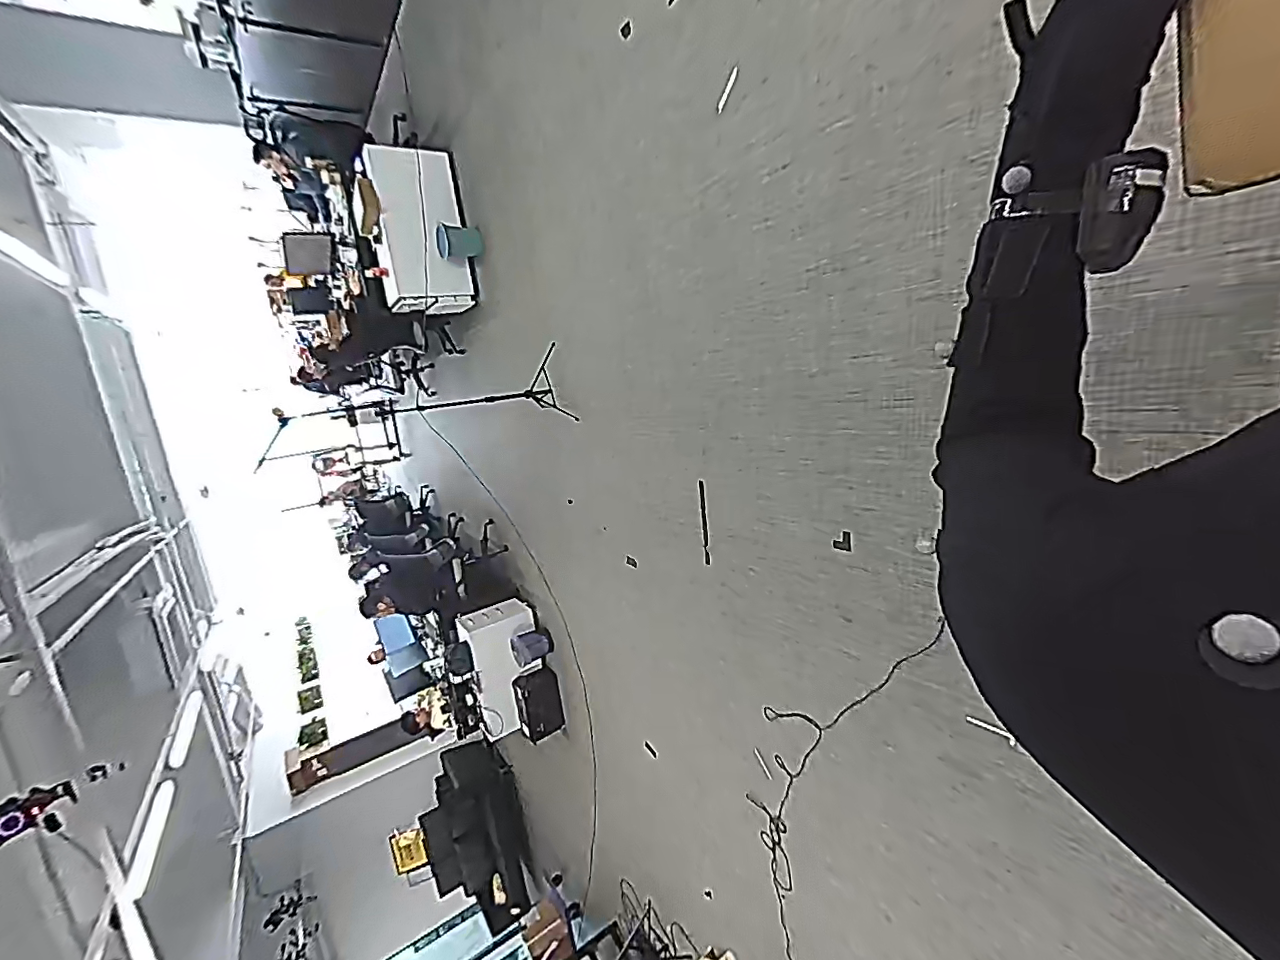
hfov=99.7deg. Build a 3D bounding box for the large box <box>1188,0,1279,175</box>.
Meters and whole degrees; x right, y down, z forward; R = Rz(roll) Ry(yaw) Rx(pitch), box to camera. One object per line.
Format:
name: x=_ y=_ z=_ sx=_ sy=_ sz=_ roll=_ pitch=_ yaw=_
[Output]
large box: x=0.512 y=-0.363 z=0.197 sx=0.408 sy=0.320 sz=0.320 roll=4 pitch=113 yaw=57
